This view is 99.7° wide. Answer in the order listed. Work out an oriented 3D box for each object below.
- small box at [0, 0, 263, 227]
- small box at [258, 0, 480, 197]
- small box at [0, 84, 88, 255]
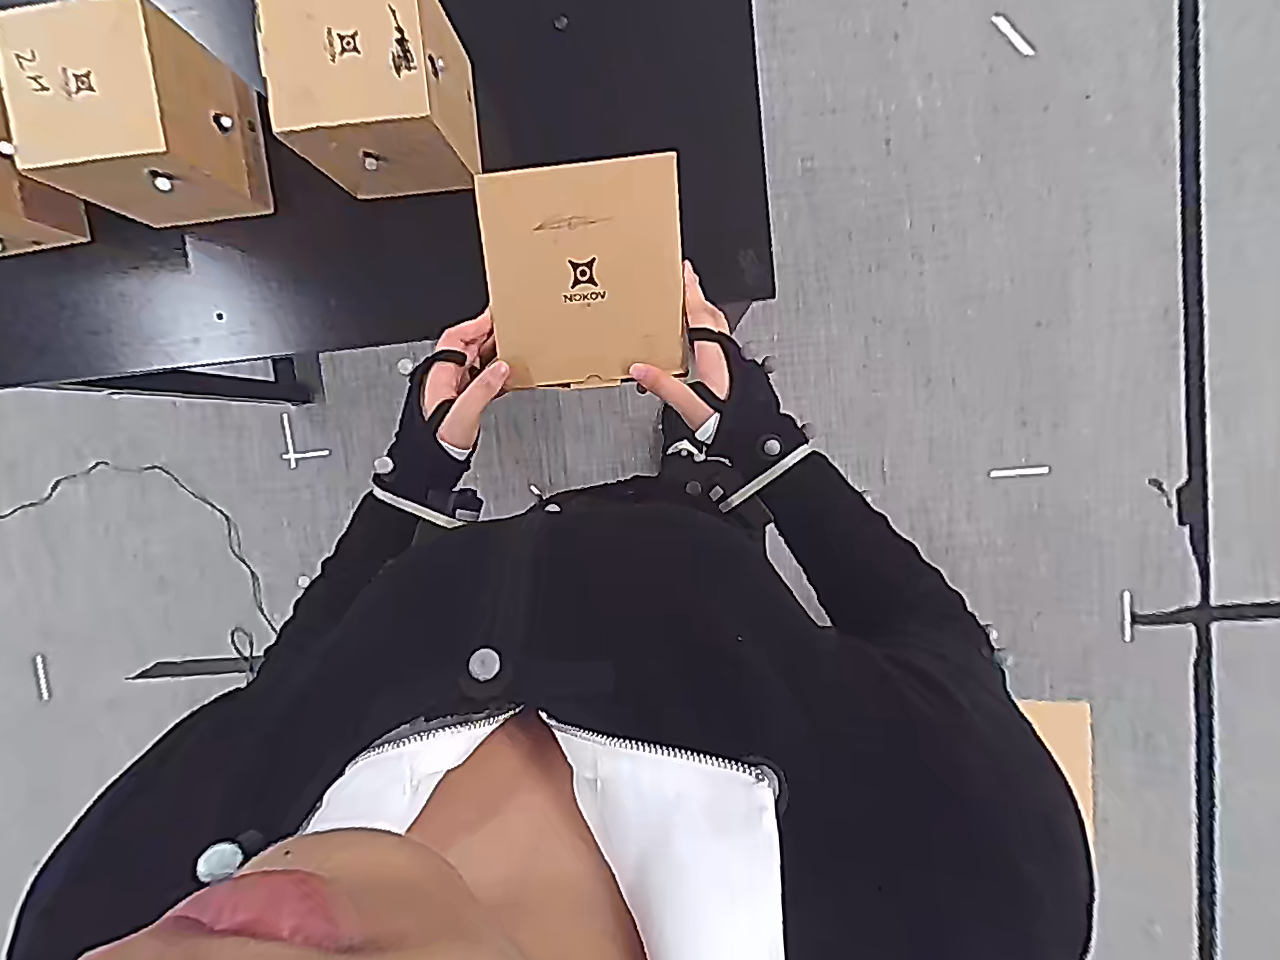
[{"bbox_3d":[-0.603,-0.434,0.666,0.179,0.176,0.168,-6,94,3],"label":"small box"},{"bbox_3d":[-0.312,-0.463,0.652,0.179,0.176,0.168,-4,95,4],"label":"small box"},{"bbox_3d":[-0.868,-0.406,0.680,0.168,0.176,0.179,-7,96,3],"label":"small box"}]
